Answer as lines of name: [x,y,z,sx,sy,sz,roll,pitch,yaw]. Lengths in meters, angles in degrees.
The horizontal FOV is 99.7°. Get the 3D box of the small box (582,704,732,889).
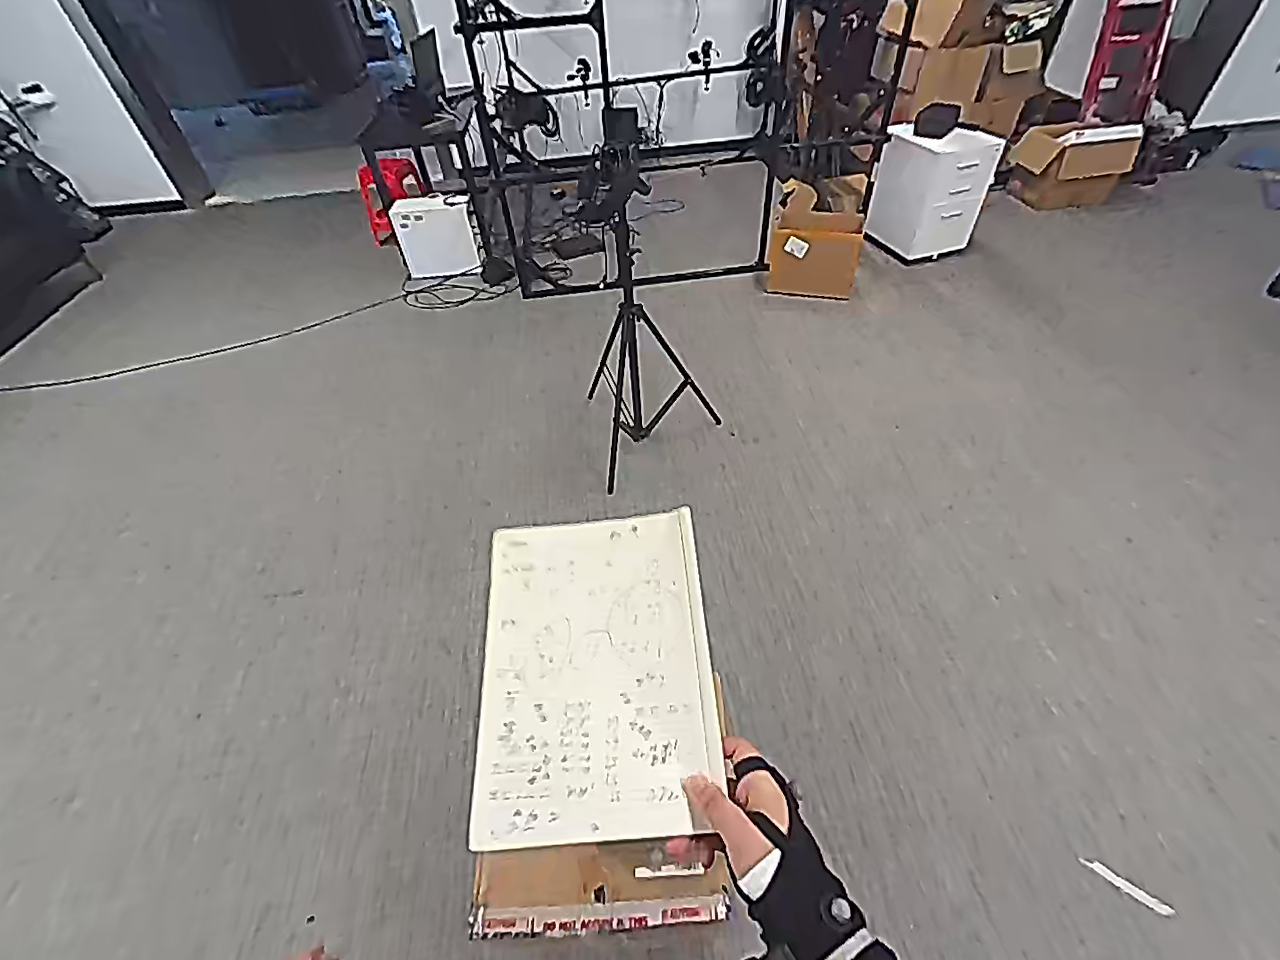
small box: [0.018,0.407,0.696,0.168,0.176,0.179,-1,48,0]

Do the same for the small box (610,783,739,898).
small box: [0.040,0.517,0.818,0.179,0.176,0.168,-4,47,-2]
